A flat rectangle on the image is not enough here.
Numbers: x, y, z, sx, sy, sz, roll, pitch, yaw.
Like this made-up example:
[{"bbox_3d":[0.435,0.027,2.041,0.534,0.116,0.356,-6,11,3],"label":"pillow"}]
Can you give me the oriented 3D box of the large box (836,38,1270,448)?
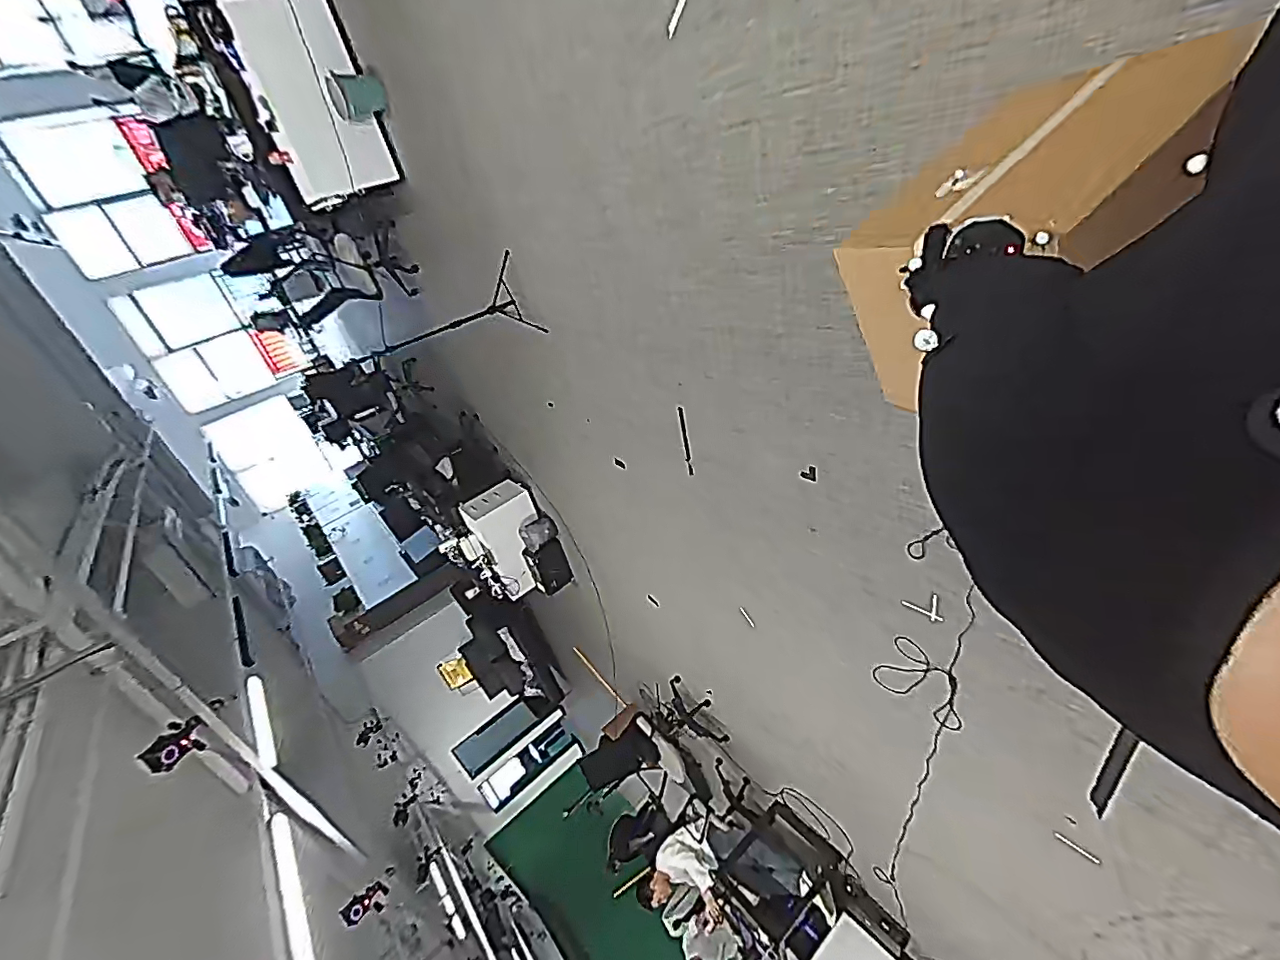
[{"bbox_3d":[0.580,-0.319,0.790,0.320,0.408,0.320,52,173,-31],"label":"large box"}]
